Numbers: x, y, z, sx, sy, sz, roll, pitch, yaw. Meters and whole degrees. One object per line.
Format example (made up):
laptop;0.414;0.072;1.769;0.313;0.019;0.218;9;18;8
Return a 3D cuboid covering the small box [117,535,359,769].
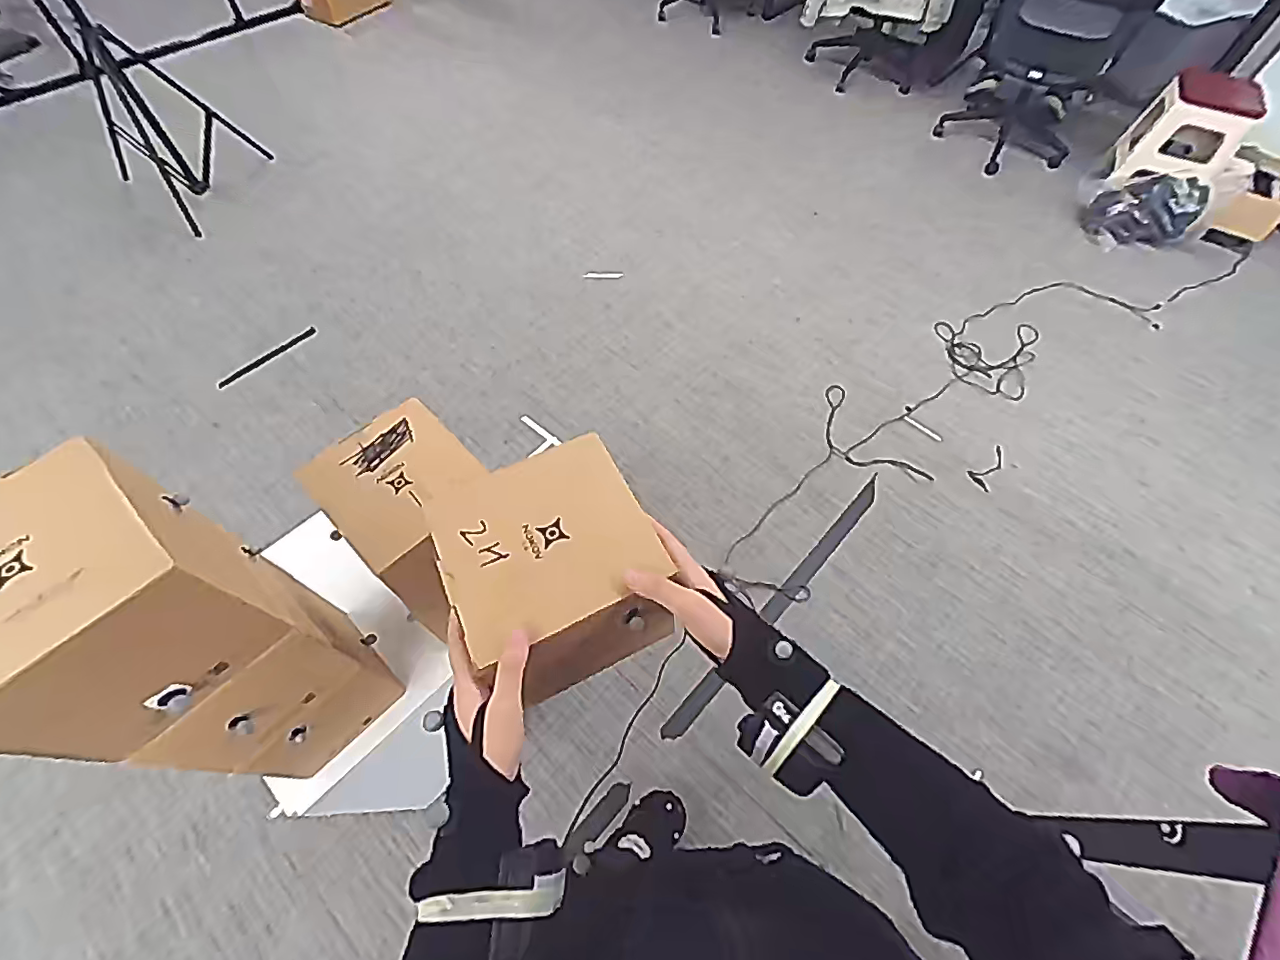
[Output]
small box;-0.453;0.188;0.596;0.179;0.176;0.168;38;65;20

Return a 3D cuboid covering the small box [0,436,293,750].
small box;-0.450;0.103;0.458;0.179;0.176;0.168;38;66;19

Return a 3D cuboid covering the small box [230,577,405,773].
small box;-0.459;0.271;0.737;0.179;0.176;0.168;39;65;21

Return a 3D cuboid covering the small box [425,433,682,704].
small box;-0.076;0.091;0.524;0.179;0.176;0.168;-24;60;-12

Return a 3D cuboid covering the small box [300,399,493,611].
small box;-0.277;0.038;0.688;0.179;0.176;0.168;41;67;19
